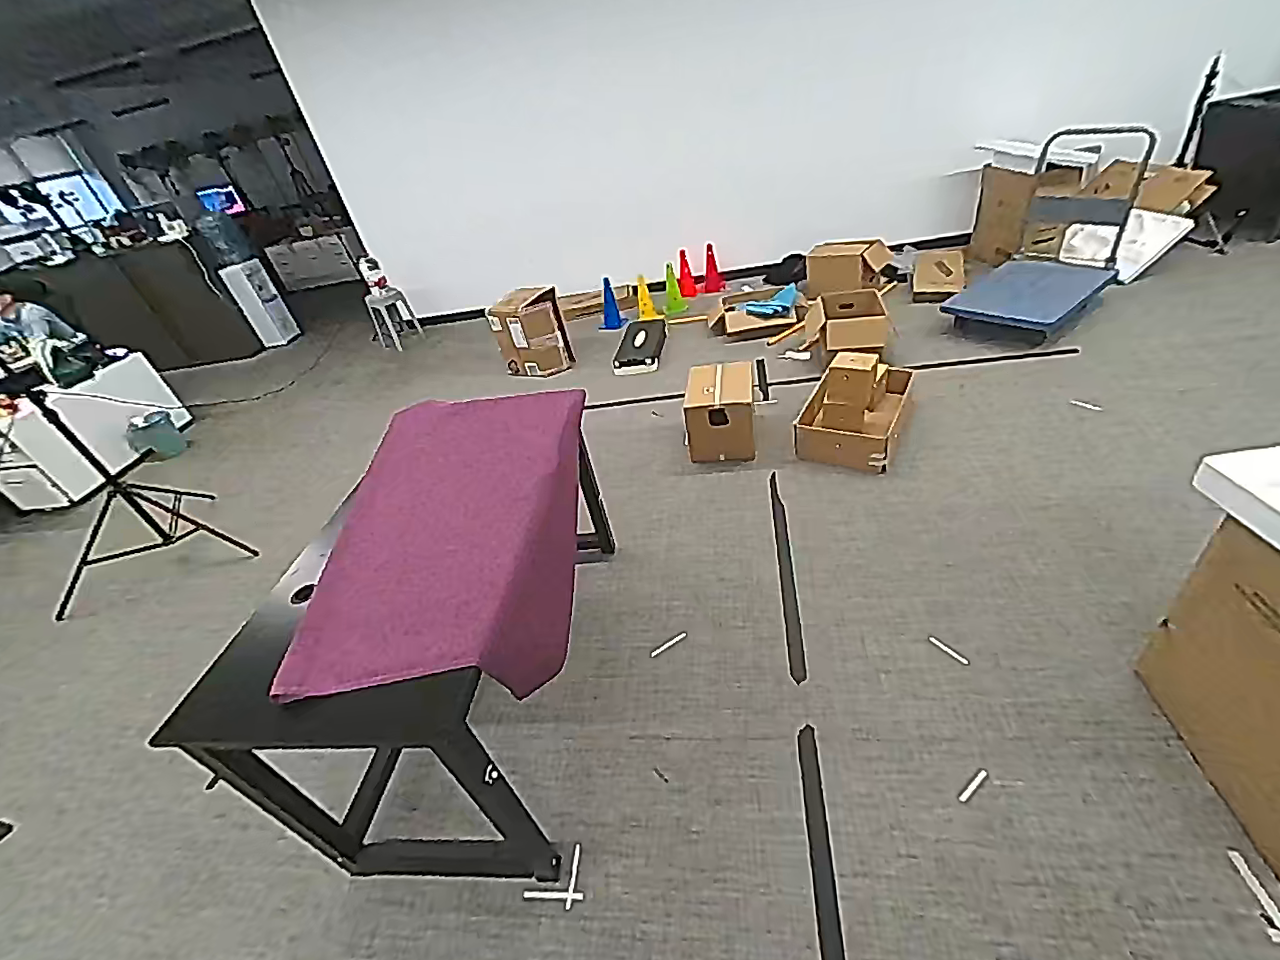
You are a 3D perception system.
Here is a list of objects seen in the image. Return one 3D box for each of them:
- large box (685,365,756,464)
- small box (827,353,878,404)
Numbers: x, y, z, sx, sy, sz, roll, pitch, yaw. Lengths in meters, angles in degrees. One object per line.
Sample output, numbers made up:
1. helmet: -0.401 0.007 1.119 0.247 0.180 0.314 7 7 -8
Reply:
1. large box: 0.402 -0.326 2.656 0.320 0.320 0.408 -4 38 13
2. small box: 0.946 -0.453 2.418 0.179 0.176 0.168 14 42 30
